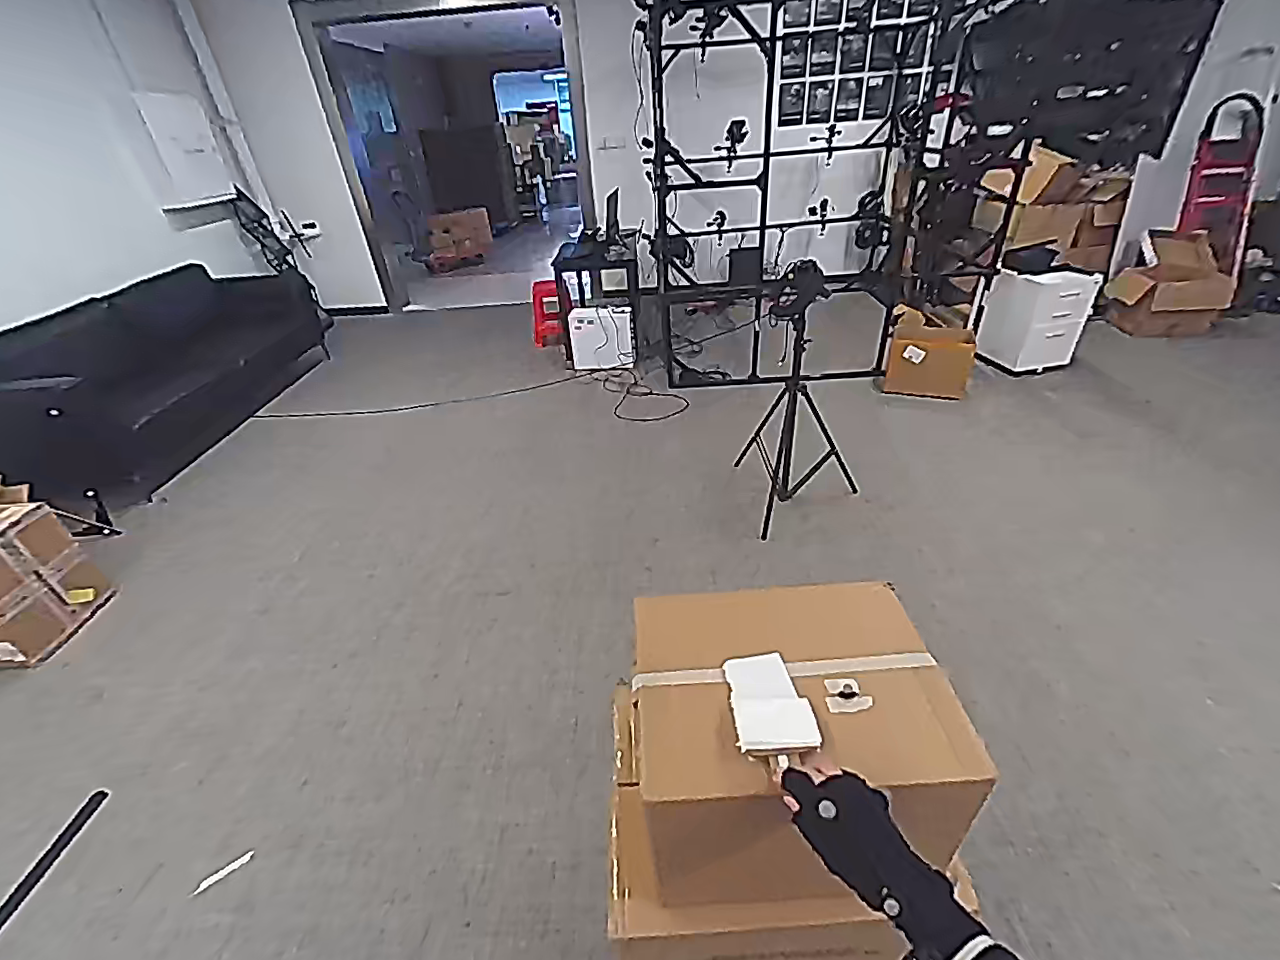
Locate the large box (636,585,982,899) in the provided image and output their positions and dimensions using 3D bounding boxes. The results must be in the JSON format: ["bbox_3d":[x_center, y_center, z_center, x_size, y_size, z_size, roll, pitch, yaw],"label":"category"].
[{"bbox_3d":[0.207,0.392,0.834,0.408,0.320,0.320,-4,34,0],"label":"large box"}]
